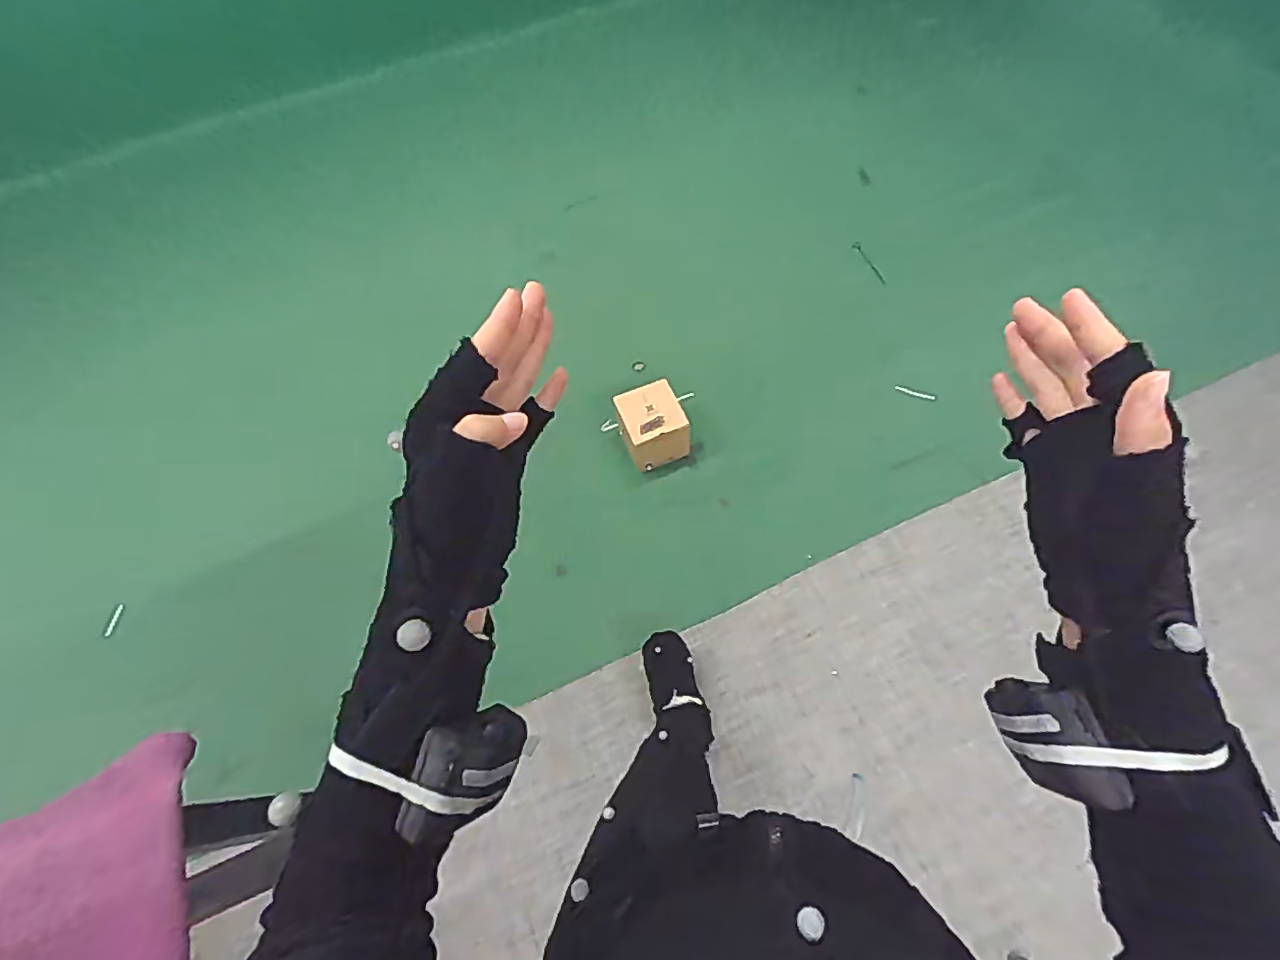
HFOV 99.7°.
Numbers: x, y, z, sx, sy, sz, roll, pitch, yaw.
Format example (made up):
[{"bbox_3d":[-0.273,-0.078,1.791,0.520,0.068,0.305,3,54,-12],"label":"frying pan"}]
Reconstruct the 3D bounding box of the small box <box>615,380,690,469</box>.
[{"bbox_3d":[0.041,-0.153,1.571,0.168,0.176,0.179,-21,63,-6],"label":"small box"}]
